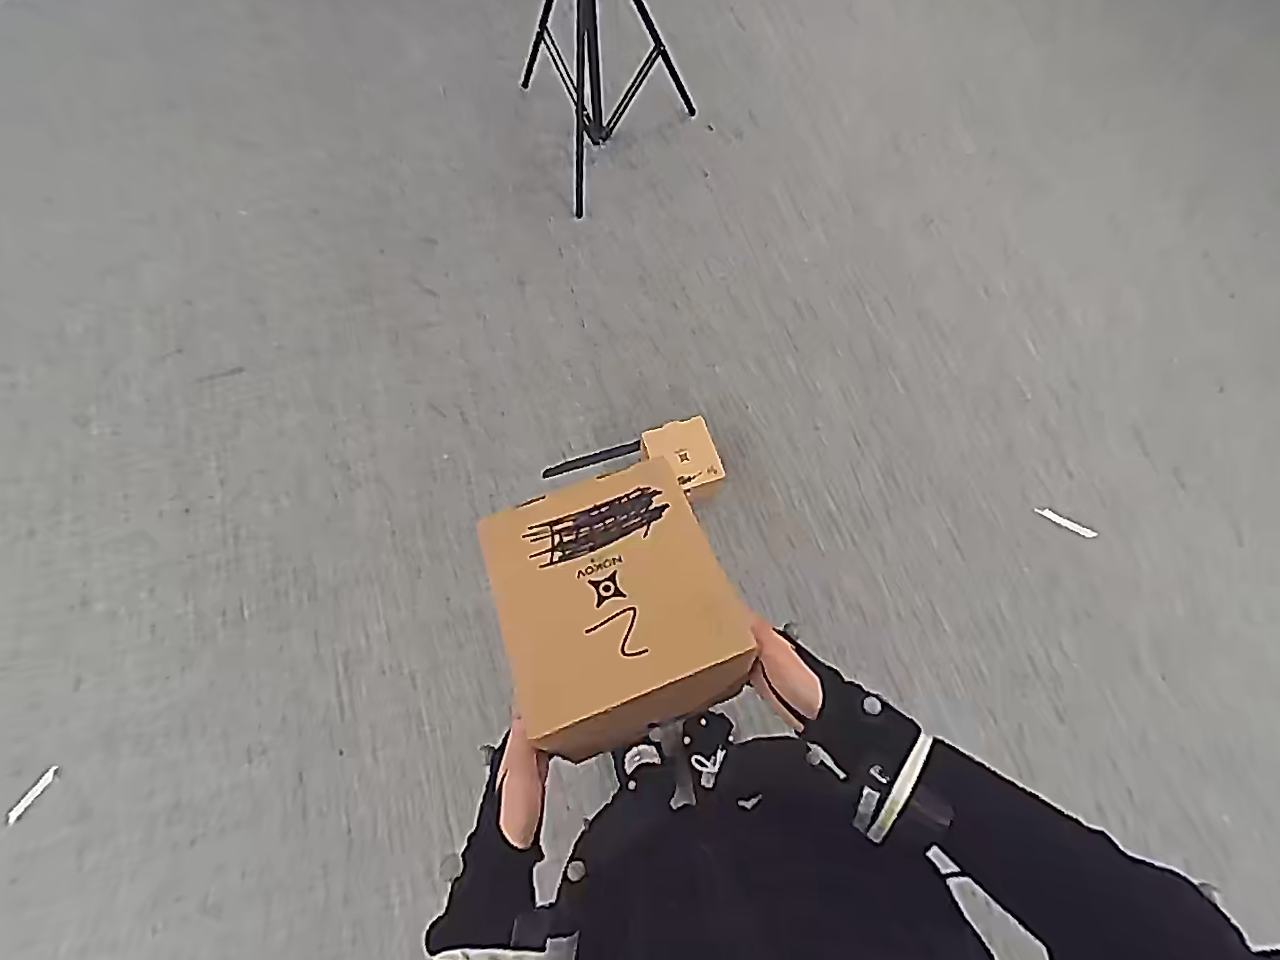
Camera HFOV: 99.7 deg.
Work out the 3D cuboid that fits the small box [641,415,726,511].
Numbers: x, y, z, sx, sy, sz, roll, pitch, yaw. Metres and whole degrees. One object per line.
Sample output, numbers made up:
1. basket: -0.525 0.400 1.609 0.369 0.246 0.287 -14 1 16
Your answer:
1. small box: 0.104 -0.039 1.403 0.168 0.176 0.179 -17 72 -7
